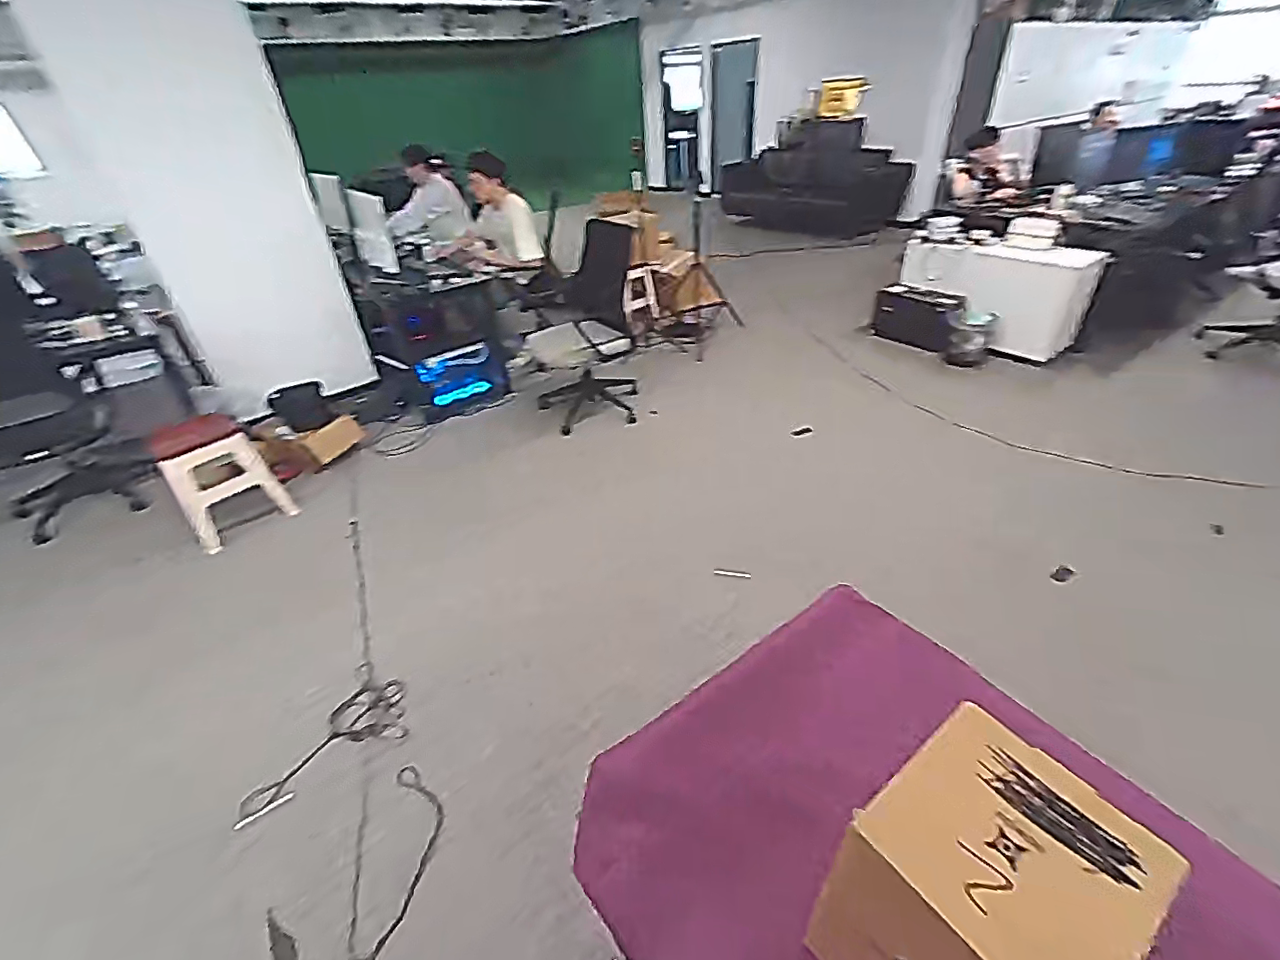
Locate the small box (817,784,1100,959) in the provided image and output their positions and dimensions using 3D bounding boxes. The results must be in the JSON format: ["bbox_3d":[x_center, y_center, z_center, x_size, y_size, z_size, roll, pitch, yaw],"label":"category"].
[{"bbox_3d":[0.306,0.471,0.556,0.168,0.176,0.179,-26,41,-27],"label":"small box"}]
